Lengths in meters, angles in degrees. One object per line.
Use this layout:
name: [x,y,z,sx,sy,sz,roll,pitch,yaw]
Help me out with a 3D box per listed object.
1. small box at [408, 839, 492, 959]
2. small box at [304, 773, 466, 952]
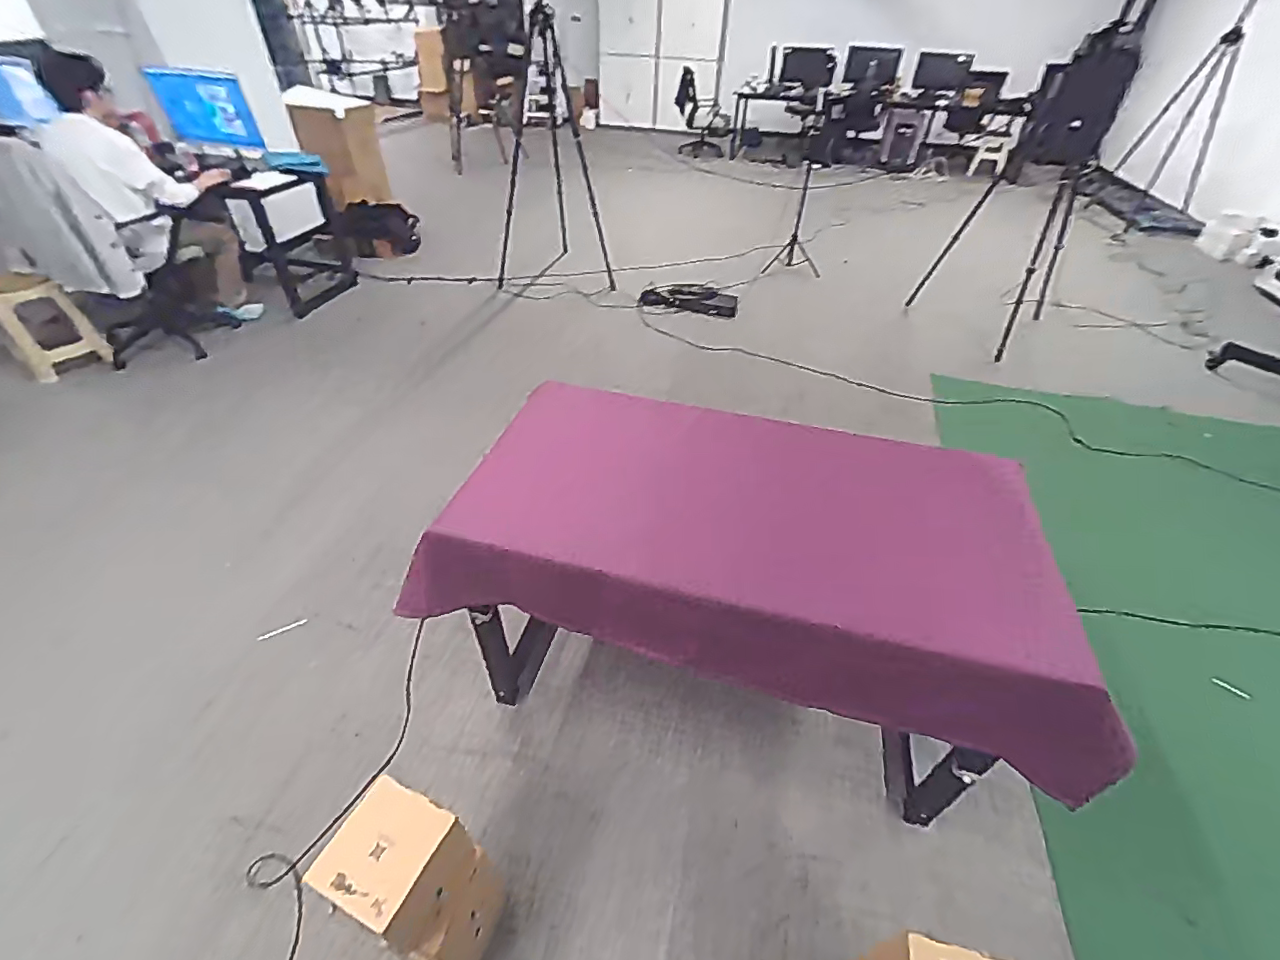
small box: [-0.405,0.785,1.032,0.179,0.176,0.168,14,43,12]
small box: [-0.421,0.655,0.929,0.168,0.176,0.179,18,43,18]
